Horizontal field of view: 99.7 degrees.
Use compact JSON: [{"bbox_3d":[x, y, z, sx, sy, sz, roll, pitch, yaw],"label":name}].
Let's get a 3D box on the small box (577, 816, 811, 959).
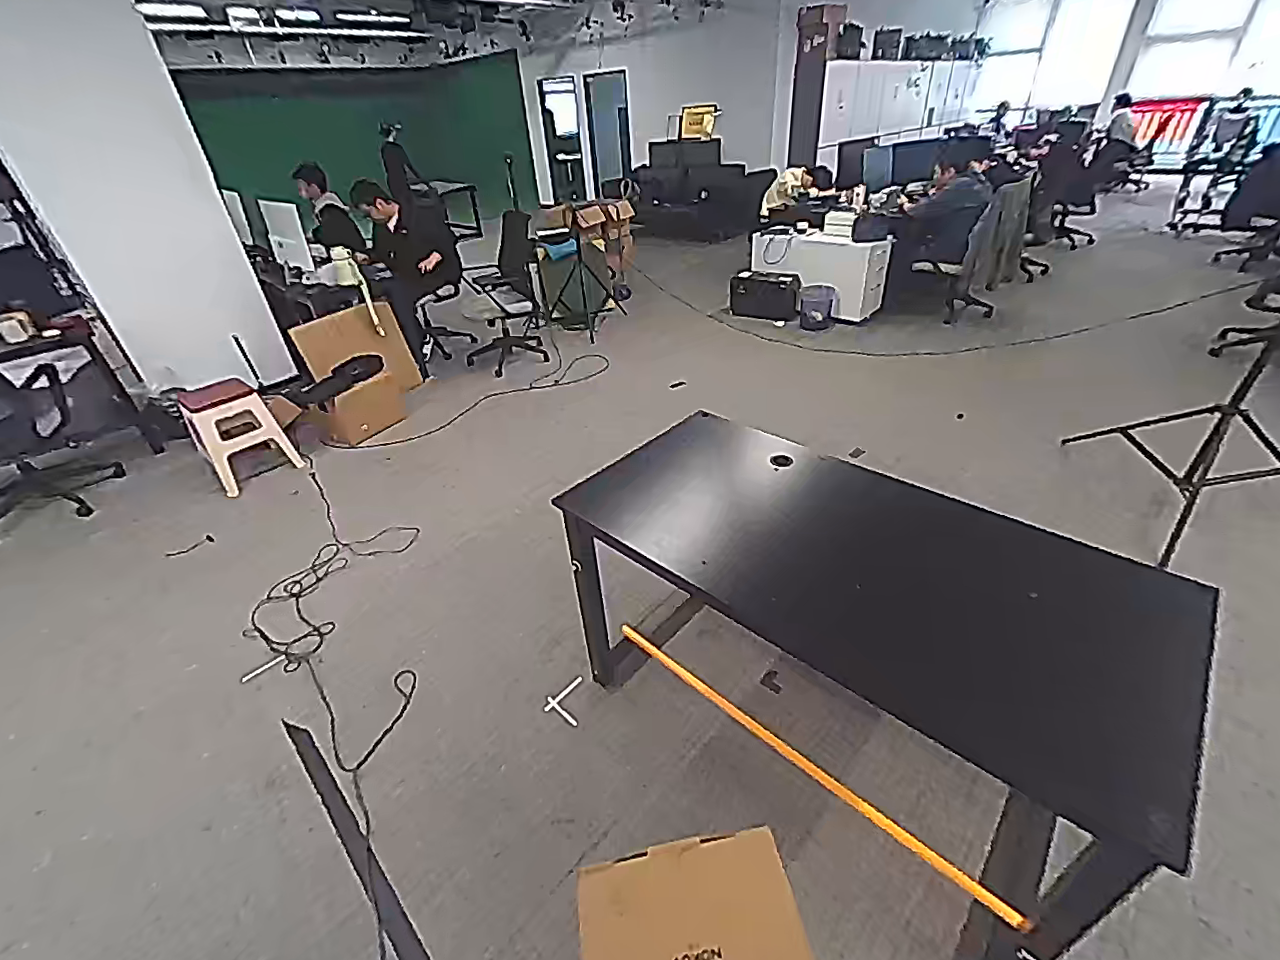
[{"bbox_3d":[0.044,0.410,0.433,0.168,0.176,0.179,-9,38,-5],"label":"small box"}]
